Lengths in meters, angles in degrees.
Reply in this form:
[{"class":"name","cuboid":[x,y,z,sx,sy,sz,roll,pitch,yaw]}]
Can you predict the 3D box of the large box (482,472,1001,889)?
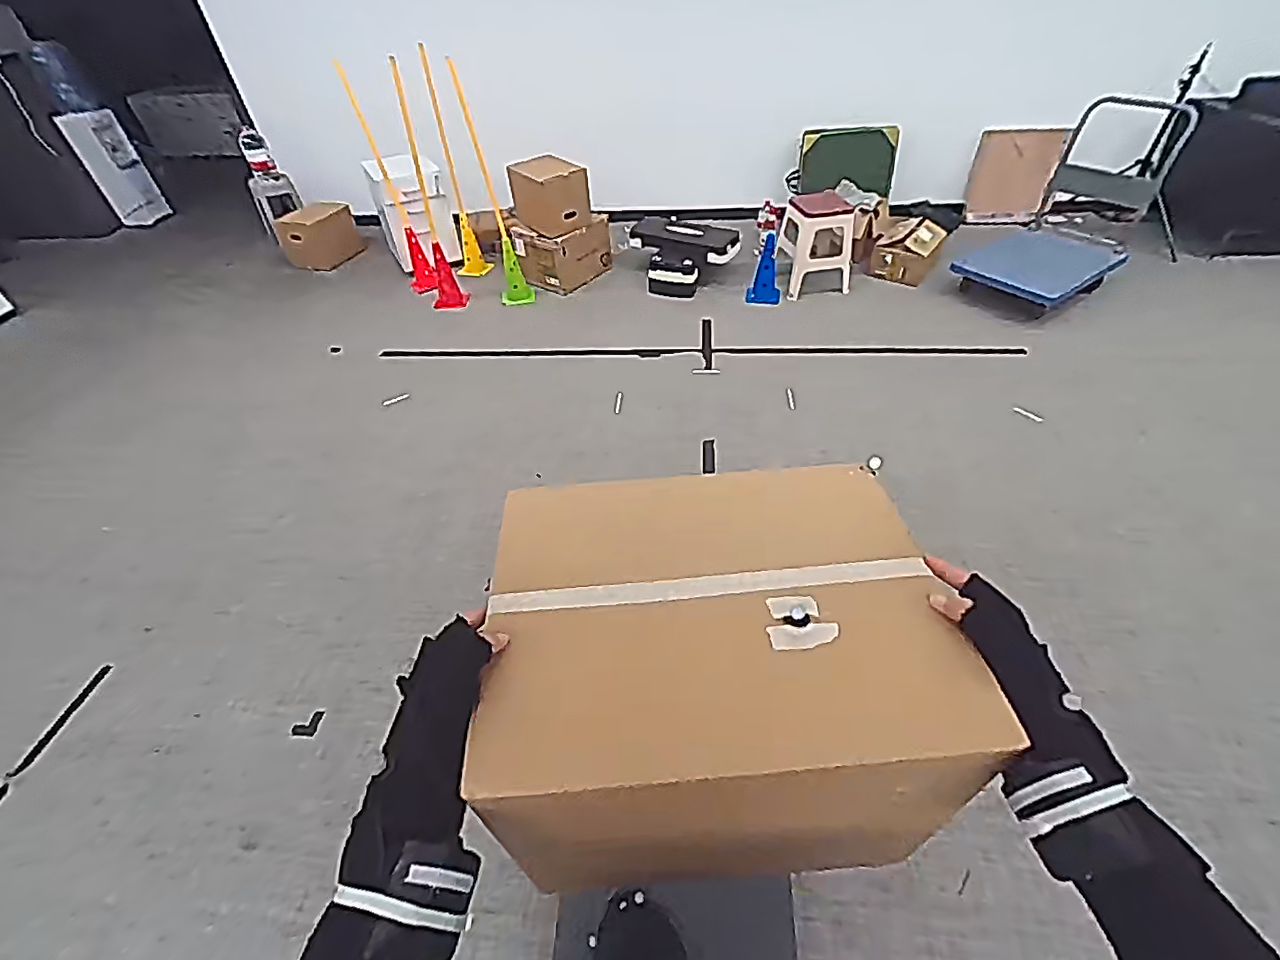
[{"class":"large box","cuboid":[0.072,0.219,0.610,0.408,0.320,0.320,-4,42,-1]}]
